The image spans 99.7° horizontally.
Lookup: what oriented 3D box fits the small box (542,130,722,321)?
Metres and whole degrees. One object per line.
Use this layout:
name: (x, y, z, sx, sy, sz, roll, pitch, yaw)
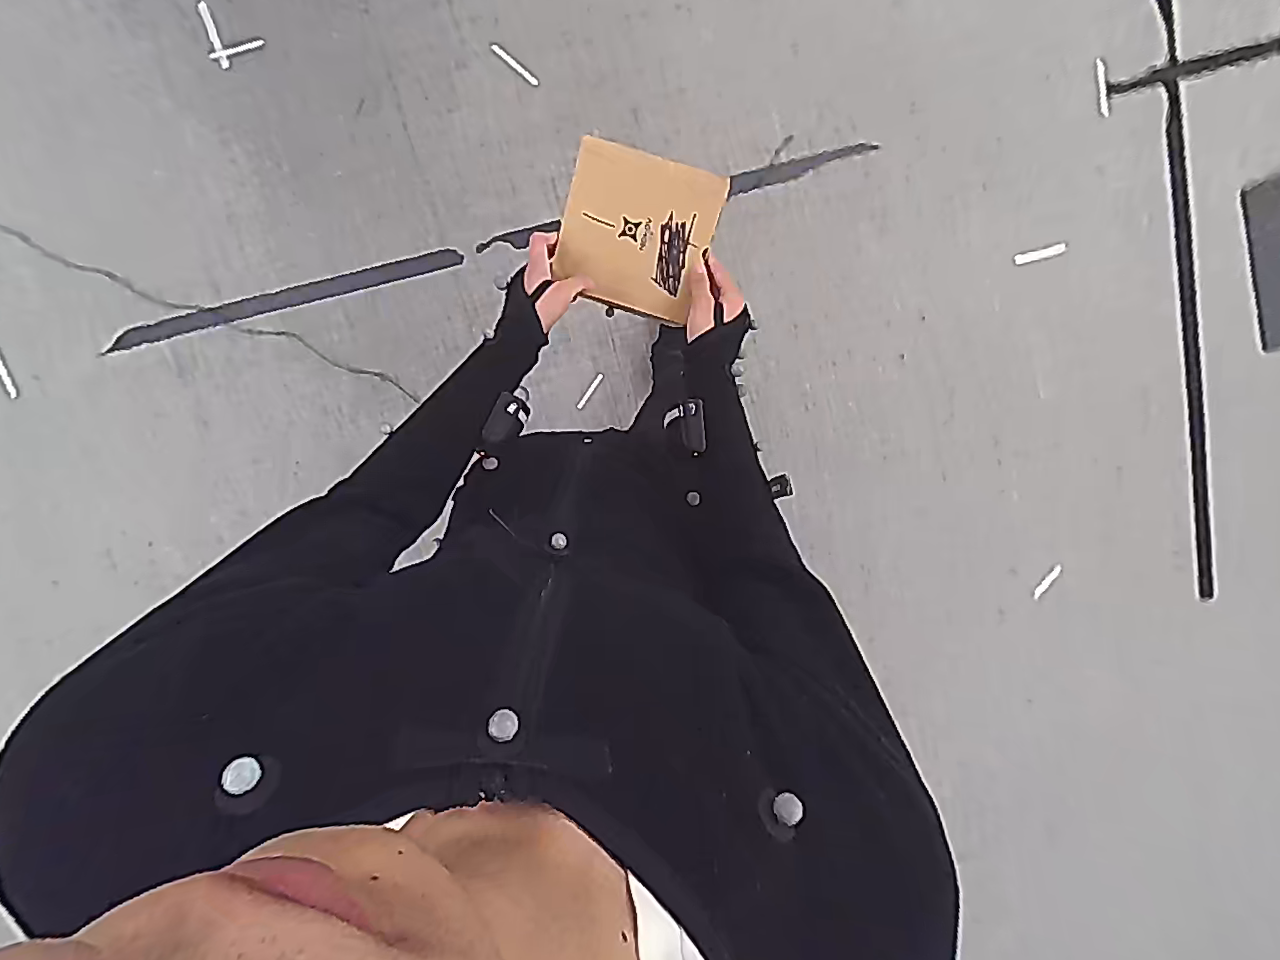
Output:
small box: (-0.013, -0.314, 0.703, 0.179, 0.176, 0.168, 15, 105, -6)
